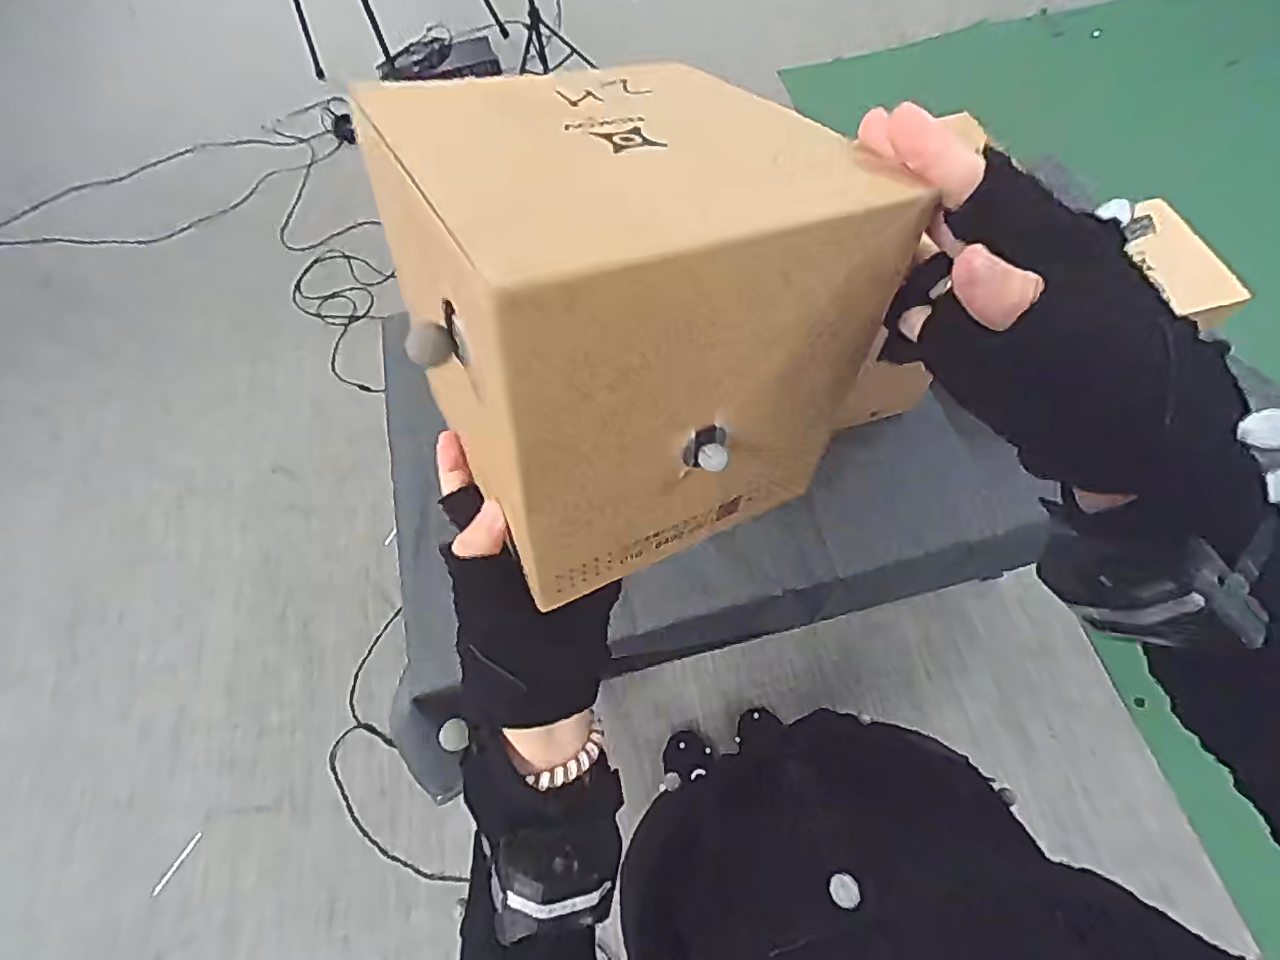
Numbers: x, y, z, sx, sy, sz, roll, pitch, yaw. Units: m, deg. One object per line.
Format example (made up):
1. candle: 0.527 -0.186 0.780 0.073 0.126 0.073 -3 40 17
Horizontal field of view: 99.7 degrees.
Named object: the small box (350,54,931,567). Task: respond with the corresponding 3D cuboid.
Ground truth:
1. small box: -0.012 -0.080 0.270 0.168 0.176 0.179 -23 57 -23
